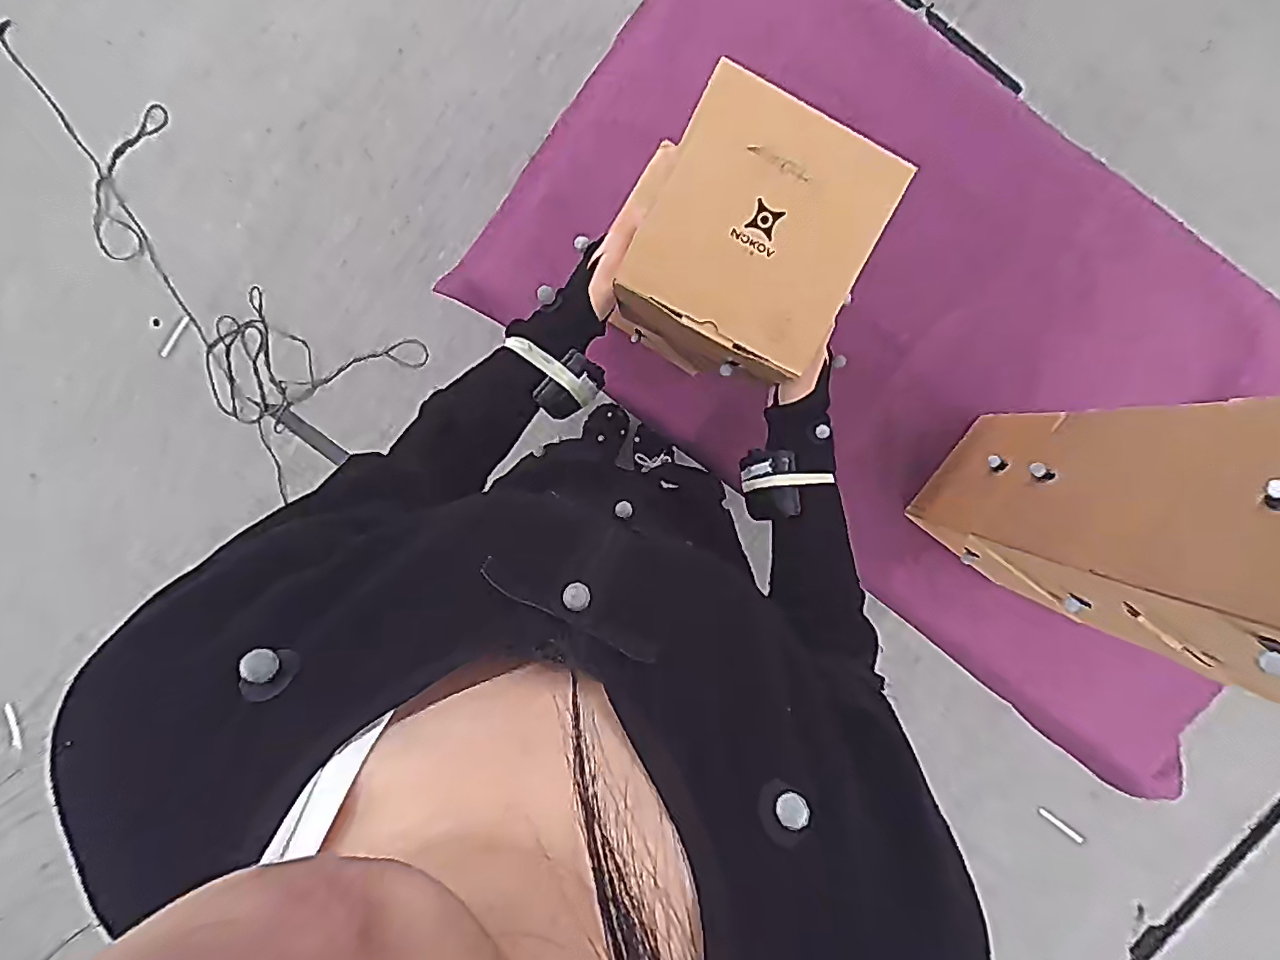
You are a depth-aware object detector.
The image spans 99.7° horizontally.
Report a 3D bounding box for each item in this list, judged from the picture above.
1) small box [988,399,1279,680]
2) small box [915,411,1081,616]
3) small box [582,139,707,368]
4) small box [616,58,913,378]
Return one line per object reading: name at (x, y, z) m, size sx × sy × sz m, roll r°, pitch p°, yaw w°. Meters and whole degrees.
small box at (0.481, 0.044, 0.517) m, size 0.168 × 0.176 × 0.179 m, roll 38°, pitch 96°, yaw -2°
small box at (0.483, 0.033, 0.681) m, size 0.168 × 0.176 × 0.179 m, roll 37°, pitch 95°, yaw -1°
small box at (0.052, -0.256, 0.664) m, size 0.168 × 0.176 × 0.179 m, roll 33°, pitch 95°, yaw -2°
small box at (0.092, -0.202, 0.482) m, size 0.168 × 0.176 × 0.179 m, roll 27°, pitch 97°, yaw -5°
